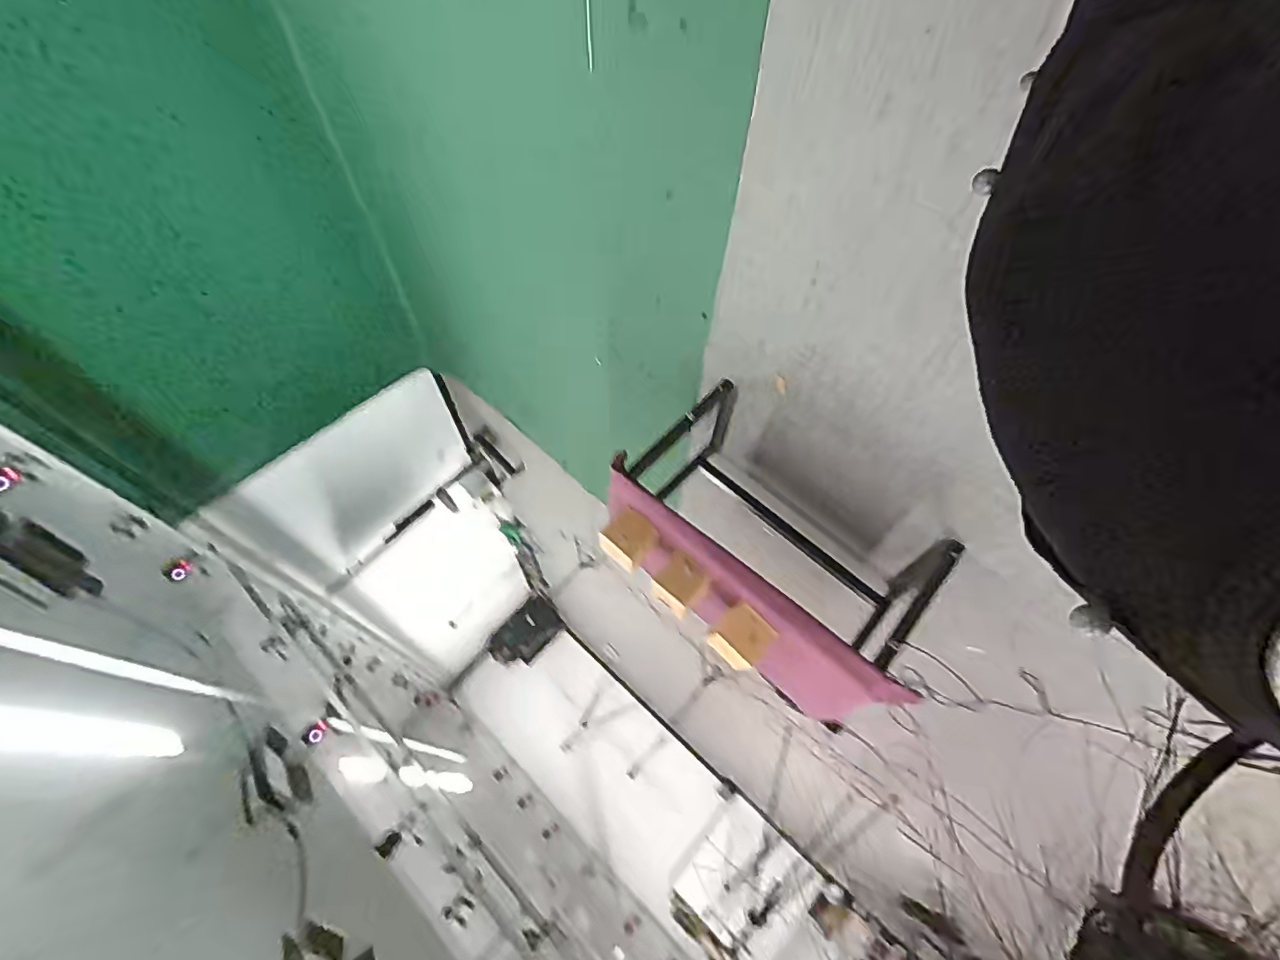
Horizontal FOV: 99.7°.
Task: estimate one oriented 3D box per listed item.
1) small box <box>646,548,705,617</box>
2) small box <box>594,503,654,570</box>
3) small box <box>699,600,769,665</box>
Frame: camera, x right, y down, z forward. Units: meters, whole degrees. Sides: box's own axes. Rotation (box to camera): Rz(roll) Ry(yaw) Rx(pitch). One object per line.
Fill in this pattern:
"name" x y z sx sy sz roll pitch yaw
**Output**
"small box" 0.139 0.398 2.108 0.168 0.176 0.179 37 154 21
"small box" -0.063 0.225 2.168 0.179 0.176 0.168 39 156 16
"small box" 0.356 0.567 2.016 0.168 0.176 0.179 44 157 6
